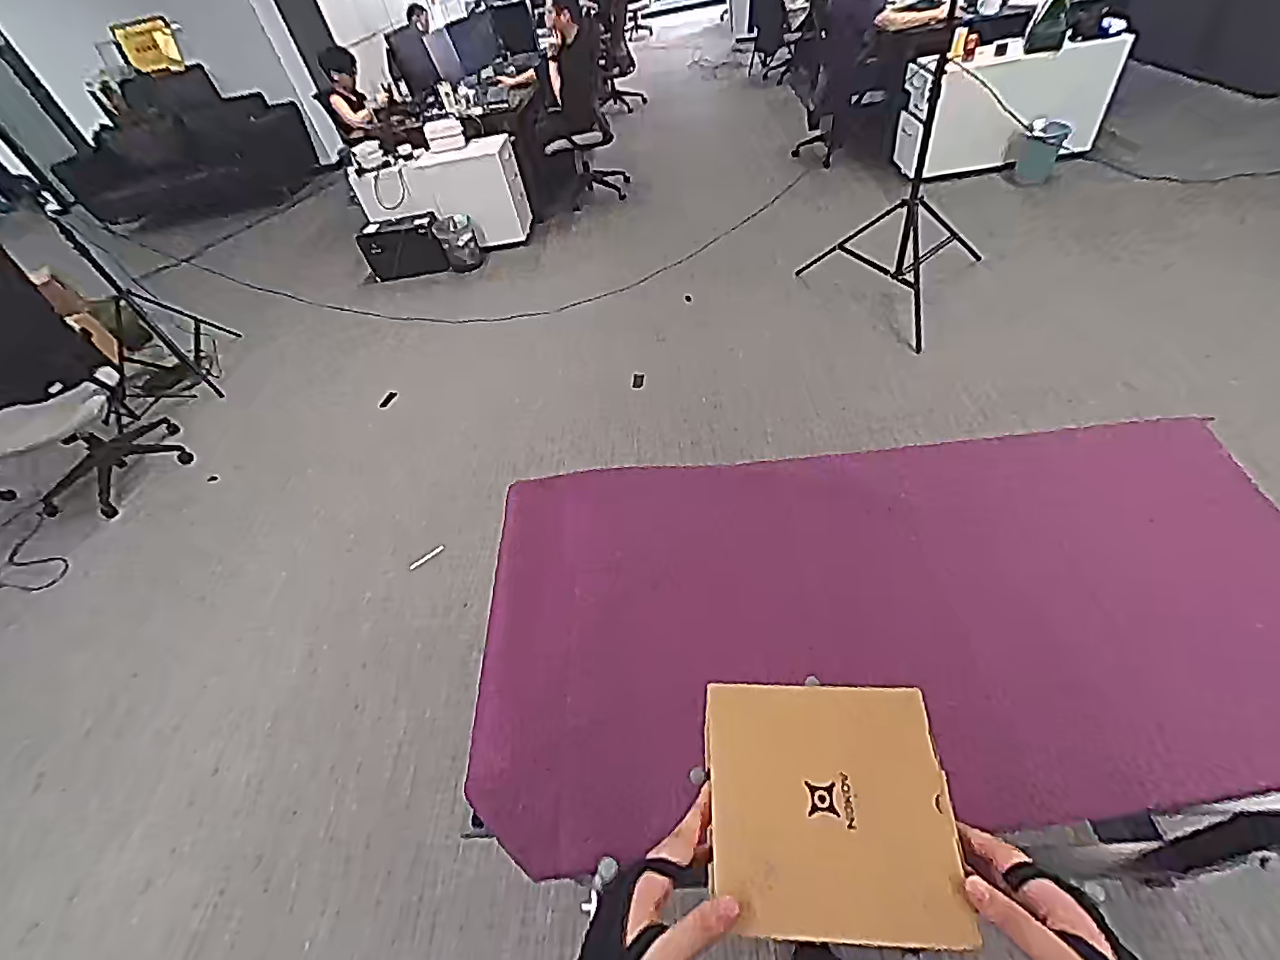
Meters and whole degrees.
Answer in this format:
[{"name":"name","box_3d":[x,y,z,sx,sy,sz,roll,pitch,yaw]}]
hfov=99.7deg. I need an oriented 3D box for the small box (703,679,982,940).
[{"name":"small box","box_3d":[0.145,0.280,0.466,0.179,0.176,0.168,-1,54,4]}]
